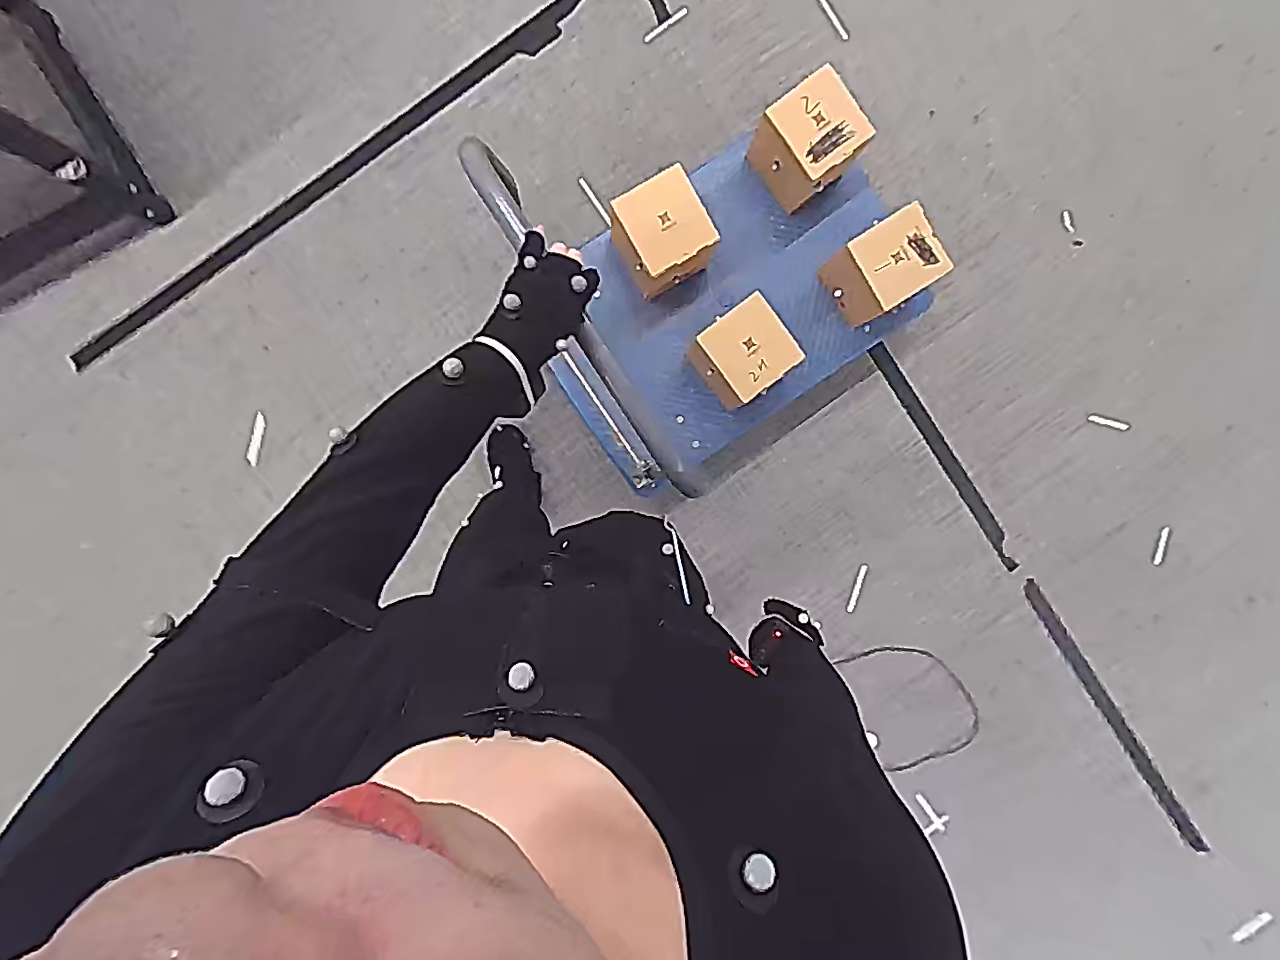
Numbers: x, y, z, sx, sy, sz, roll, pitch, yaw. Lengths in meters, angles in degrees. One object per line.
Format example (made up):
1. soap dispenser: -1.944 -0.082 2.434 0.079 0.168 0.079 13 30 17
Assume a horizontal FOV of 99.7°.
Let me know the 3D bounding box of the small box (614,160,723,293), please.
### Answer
1. small box: 0.052 -0.540 1.176 0.168 0.176 0.179 -31 96 -1

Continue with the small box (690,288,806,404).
1. small box: 0.229 -0.286 1.199 0.168 0.176 0.179 -37 94 0

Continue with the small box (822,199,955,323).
1. small box: 0.543 -0.477 1.204 0.179 0.176 0.168 -32 95 0
